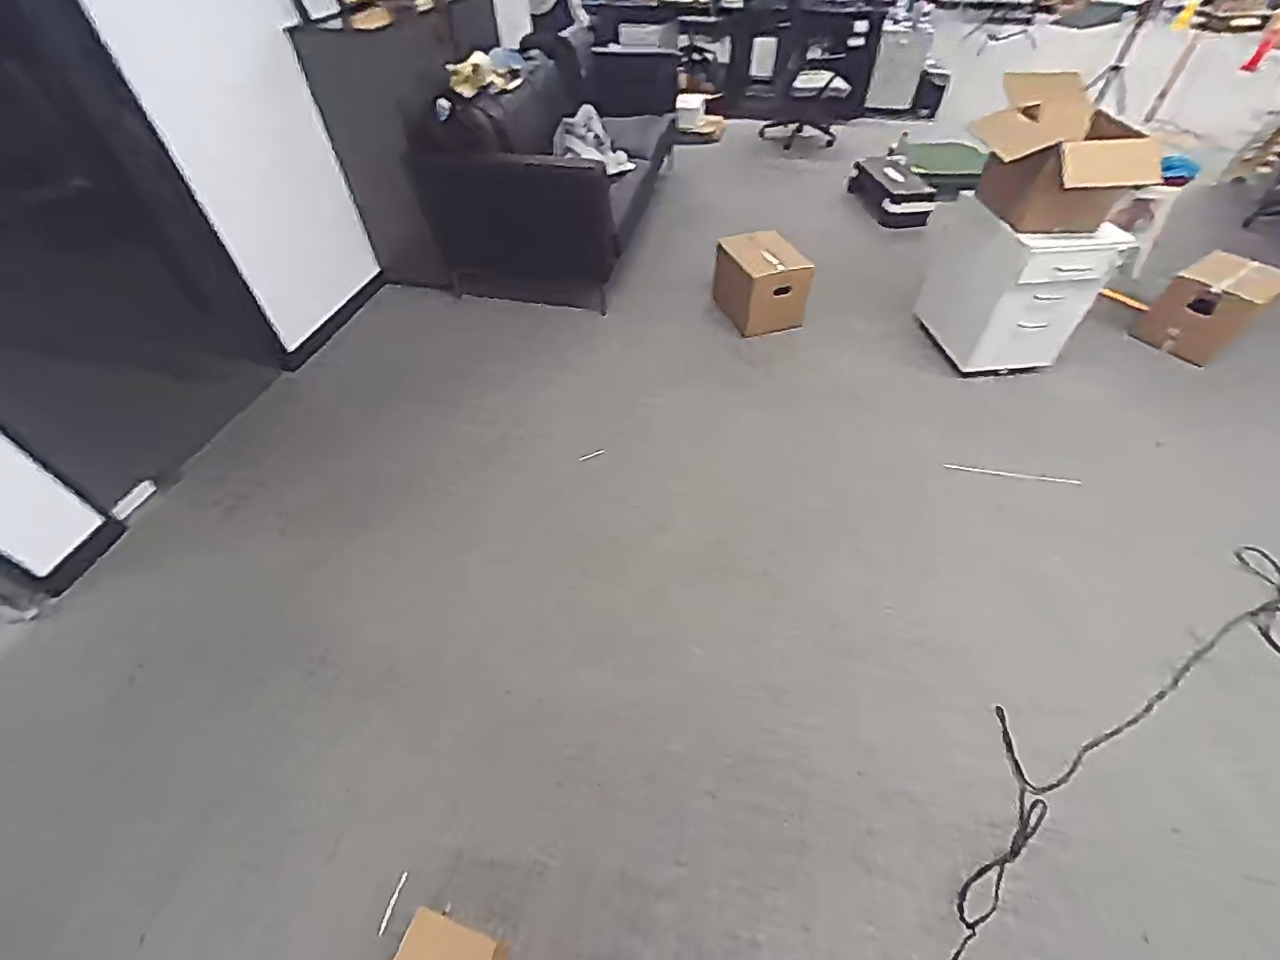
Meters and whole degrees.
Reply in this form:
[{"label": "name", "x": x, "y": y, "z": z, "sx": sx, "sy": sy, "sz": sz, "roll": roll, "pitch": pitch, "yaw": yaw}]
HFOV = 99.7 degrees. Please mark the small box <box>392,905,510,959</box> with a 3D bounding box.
[{"label": "small box", "x": -0.376, "y": 0.959, "z": 1.042, "sx": 0.179, "sy": 0.176, "sz": 0.168, "roll": 13, "pitch": 50, "yaw": 12}]
